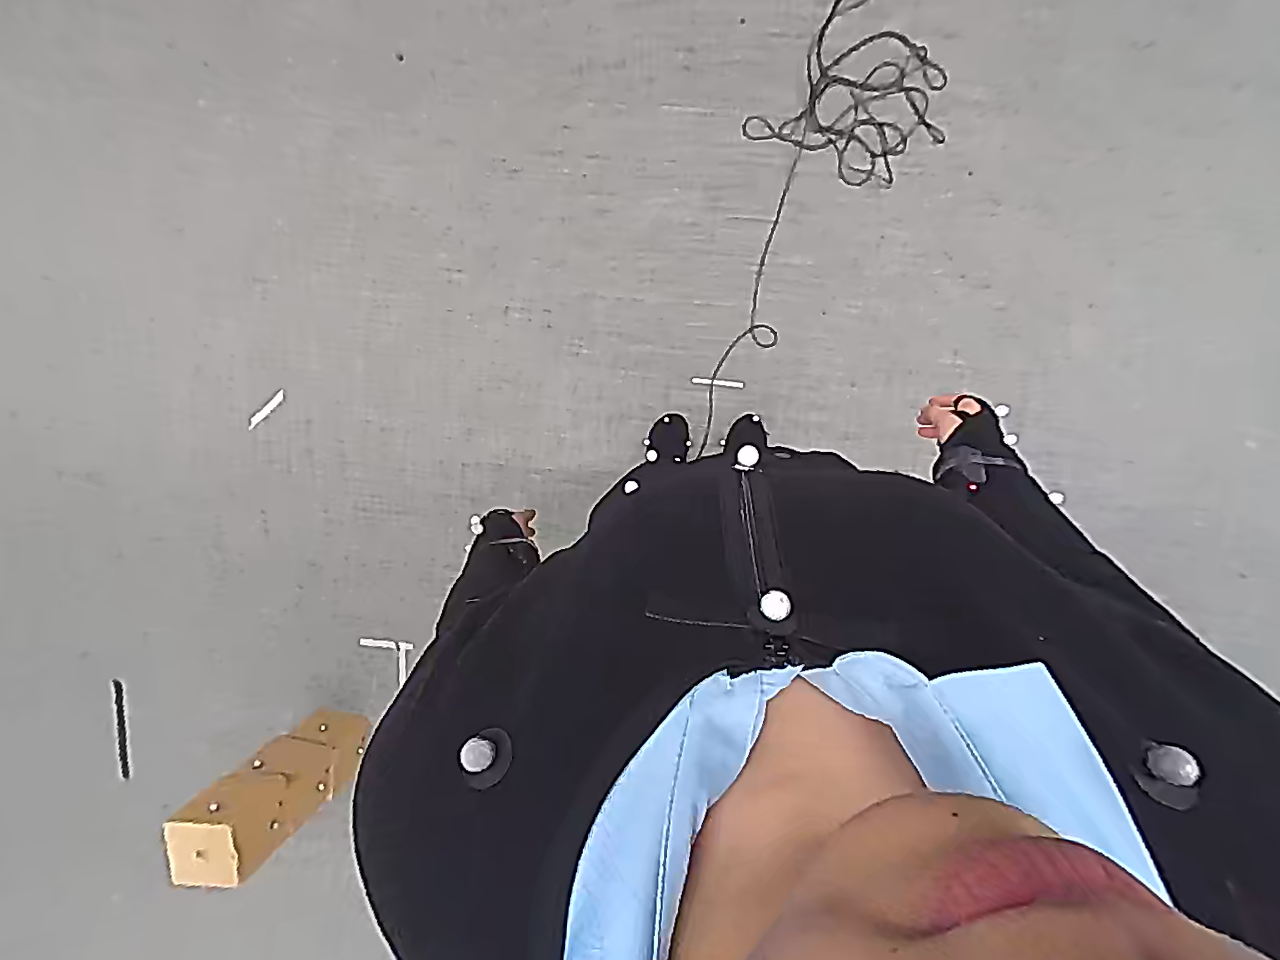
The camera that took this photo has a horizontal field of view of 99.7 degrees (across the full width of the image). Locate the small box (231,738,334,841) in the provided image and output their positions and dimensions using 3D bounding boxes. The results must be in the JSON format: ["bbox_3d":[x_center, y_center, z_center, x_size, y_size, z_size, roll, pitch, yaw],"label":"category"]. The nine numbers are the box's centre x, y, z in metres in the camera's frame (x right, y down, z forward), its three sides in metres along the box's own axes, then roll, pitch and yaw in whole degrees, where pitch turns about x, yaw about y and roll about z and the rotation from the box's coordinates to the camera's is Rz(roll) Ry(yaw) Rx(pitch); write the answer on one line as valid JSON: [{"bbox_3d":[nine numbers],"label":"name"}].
[{"bbox_3d":[-0.988,0.845,1.495,0.179,0.176,0.168,10,100,4],"label":"small box"}]

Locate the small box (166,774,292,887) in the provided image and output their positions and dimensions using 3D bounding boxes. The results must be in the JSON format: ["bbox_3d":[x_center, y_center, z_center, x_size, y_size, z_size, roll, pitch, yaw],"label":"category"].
[{"bbox_3d":[-1.004,0.855,1.333,0.179,0.176,0.168,-1,98,6],"label":"small box"}]
